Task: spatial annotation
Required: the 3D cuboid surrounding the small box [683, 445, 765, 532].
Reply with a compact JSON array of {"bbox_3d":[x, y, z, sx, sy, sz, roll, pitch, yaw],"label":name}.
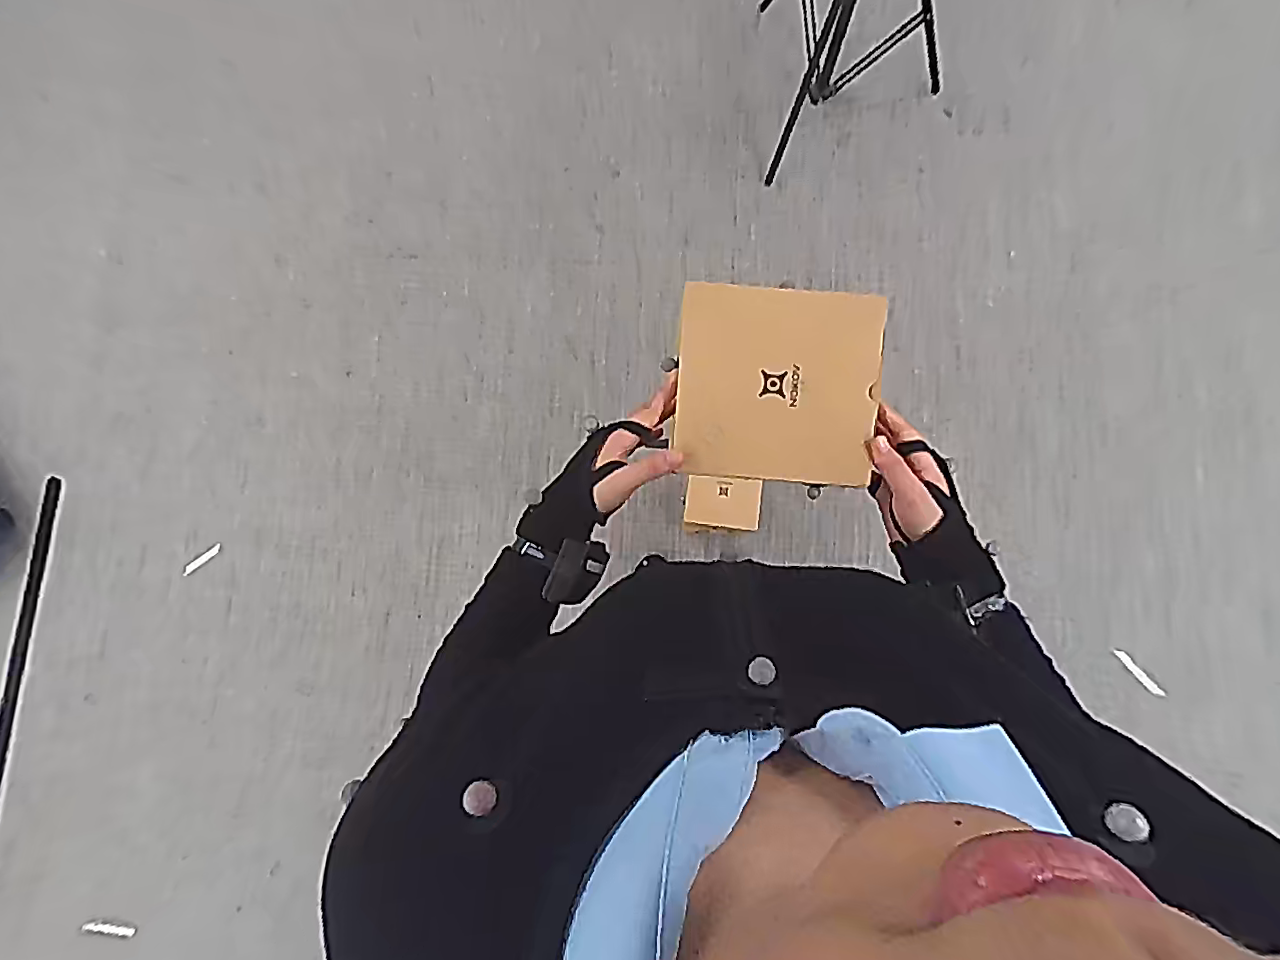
[{"bbox_3d":[0.194,0.027,1.283,0.168,0.176,0.179,7,82,4],"label":"small box"}]
